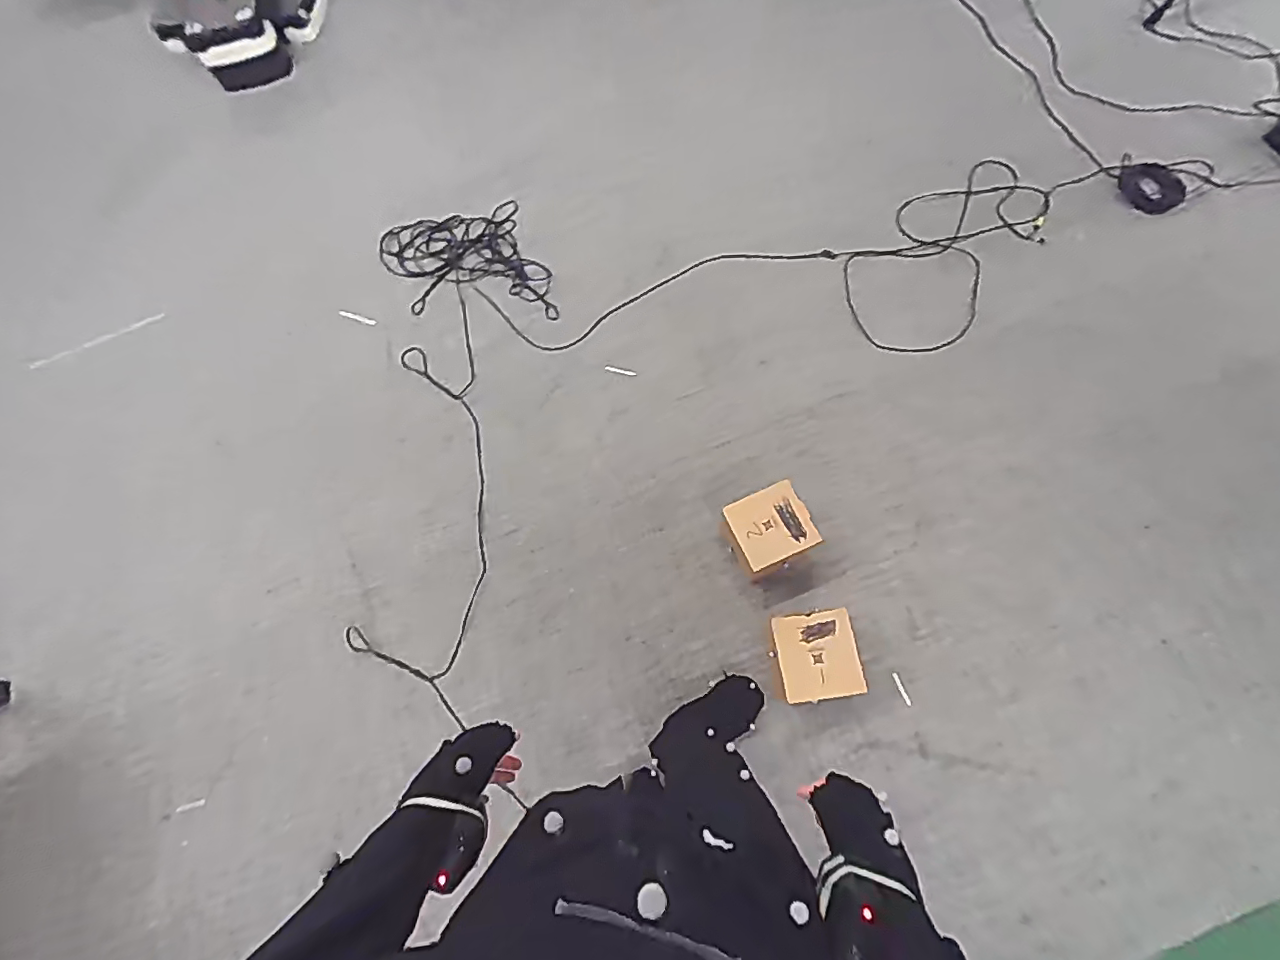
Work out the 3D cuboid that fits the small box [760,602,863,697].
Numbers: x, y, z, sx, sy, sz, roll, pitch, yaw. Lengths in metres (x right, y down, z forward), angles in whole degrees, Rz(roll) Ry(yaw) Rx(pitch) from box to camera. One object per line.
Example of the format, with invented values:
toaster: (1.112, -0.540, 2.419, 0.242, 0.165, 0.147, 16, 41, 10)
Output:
small box: (0.375, 0.382, 1.216, 0.168, 0.176, 0.179, -9, 72, 3)
